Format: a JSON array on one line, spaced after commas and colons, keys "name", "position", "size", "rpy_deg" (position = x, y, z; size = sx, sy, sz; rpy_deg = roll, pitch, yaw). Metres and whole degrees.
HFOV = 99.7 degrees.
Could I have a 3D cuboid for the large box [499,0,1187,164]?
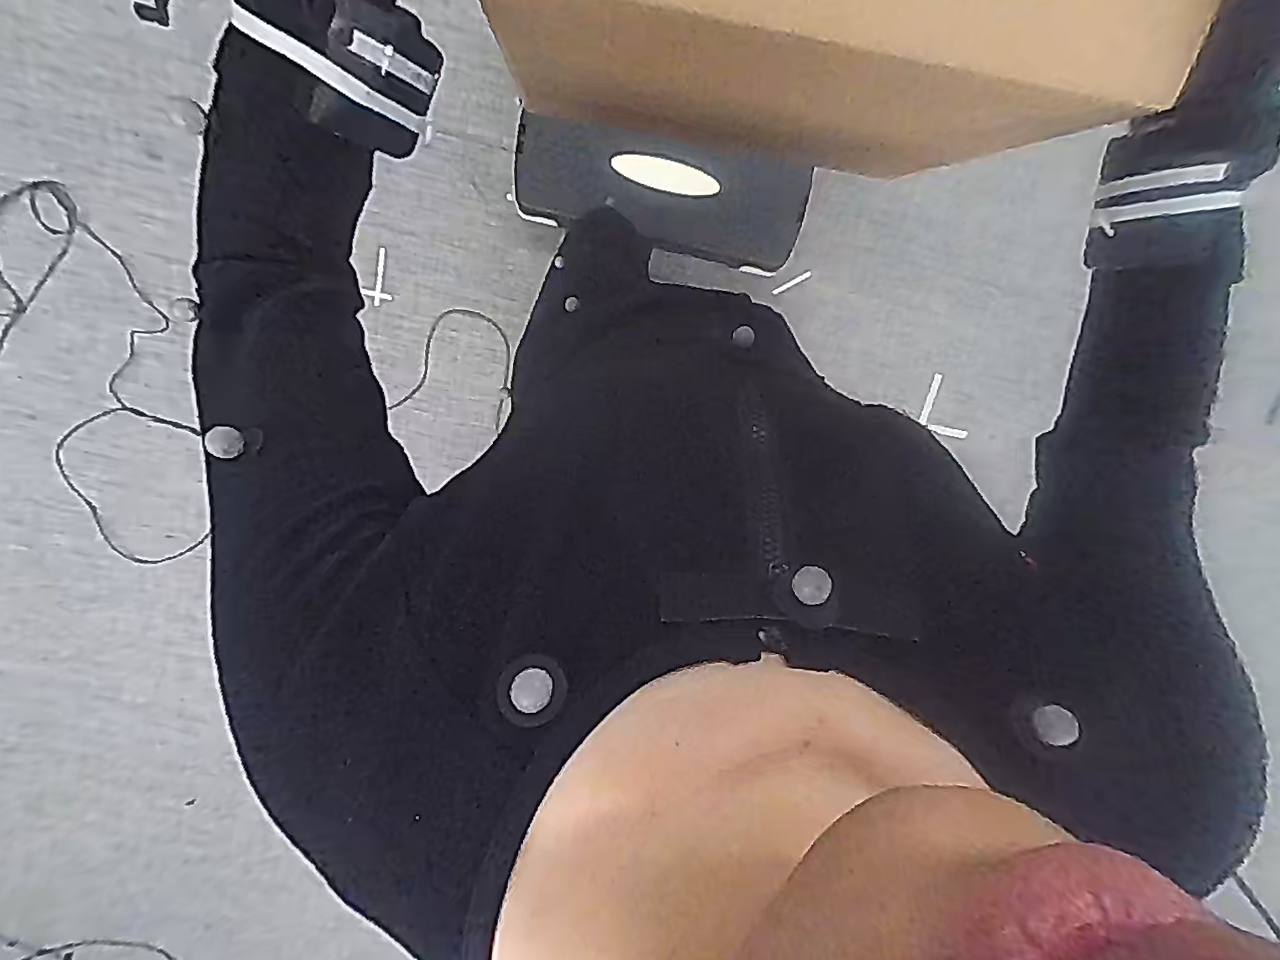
[{"name": "large box", "position": [0.115, -0.446, 0.381], "size": [0.408, 0.320, 0.320], "rpy_deg": [4, 113, -8]}]
